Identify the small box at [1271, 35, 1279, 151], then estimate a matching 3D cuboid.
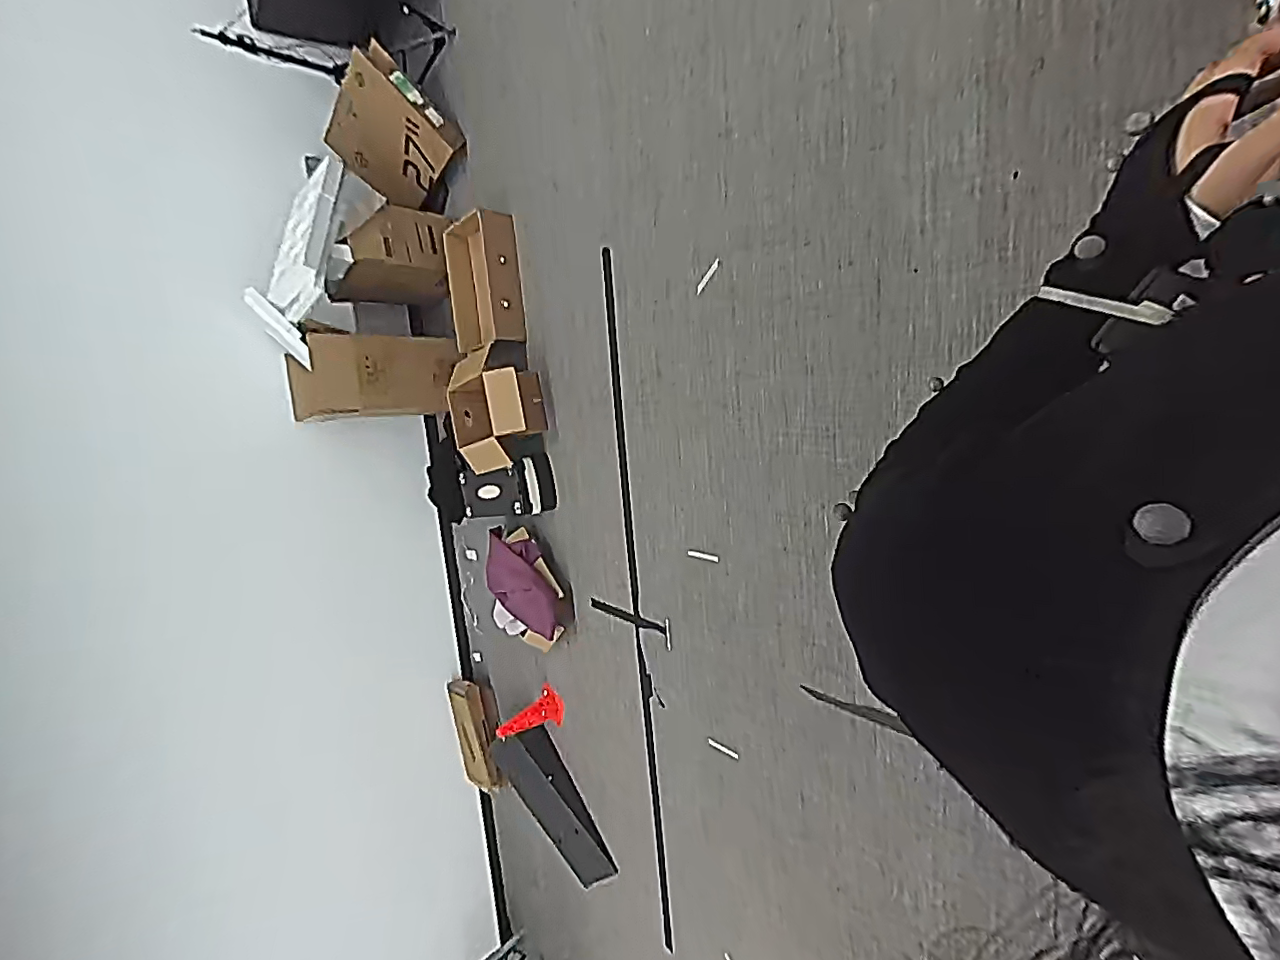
[{"bbox_3d":[0.484,-0.293,0.293,0.168,0.176,0.179,4,115,42],"label":"small box"}]
